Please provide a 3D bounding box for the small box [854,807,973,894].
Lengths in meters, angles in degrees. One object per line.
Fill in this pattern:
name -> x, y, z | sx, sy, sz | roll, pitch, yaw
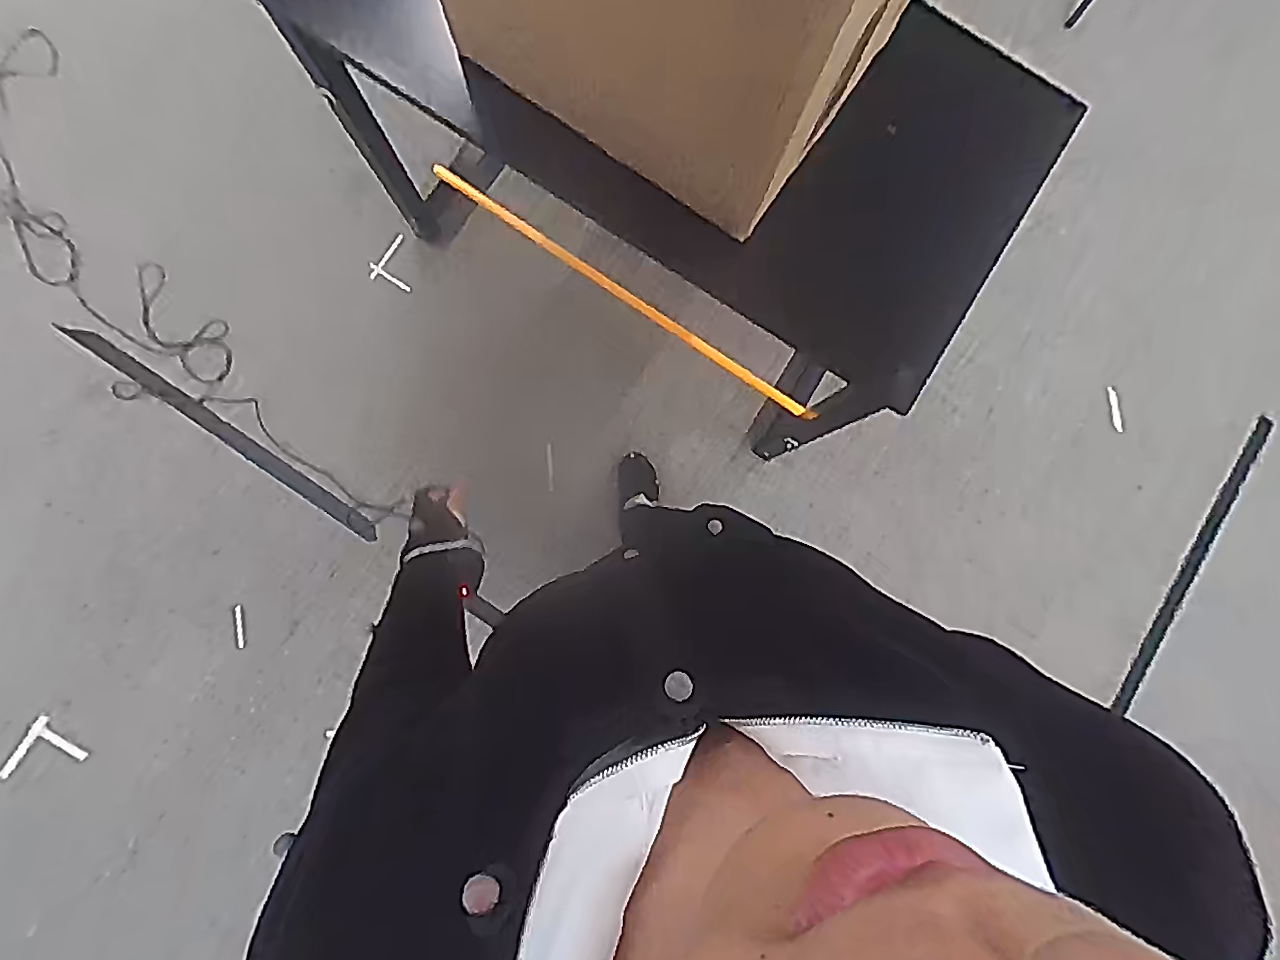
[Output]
small box -> 0.687, 0.983, 1.379 | 0.179, 0.176, 0.168 | 33, 83, 1
